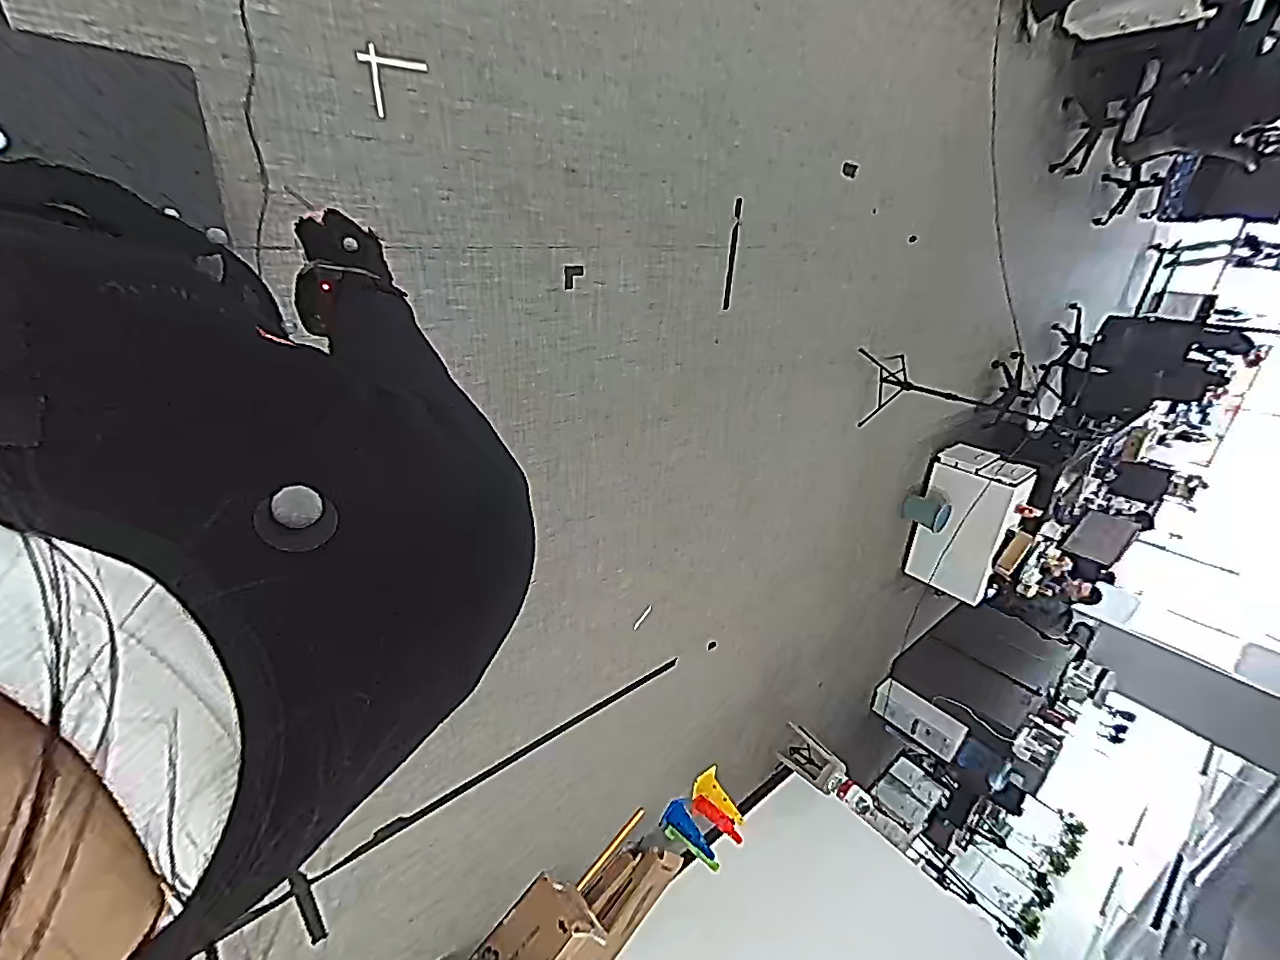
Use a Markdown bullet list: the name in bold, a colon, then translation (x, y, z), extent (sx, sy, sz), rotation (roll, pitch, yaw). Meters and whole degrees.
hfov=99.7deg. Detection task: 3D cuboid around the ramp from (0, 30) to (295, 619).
- **ramp**: translation (-1.041, -0.265, 1.024), extent (0.509, 0.206, 0.991), rotation (-16, 120, -35)
